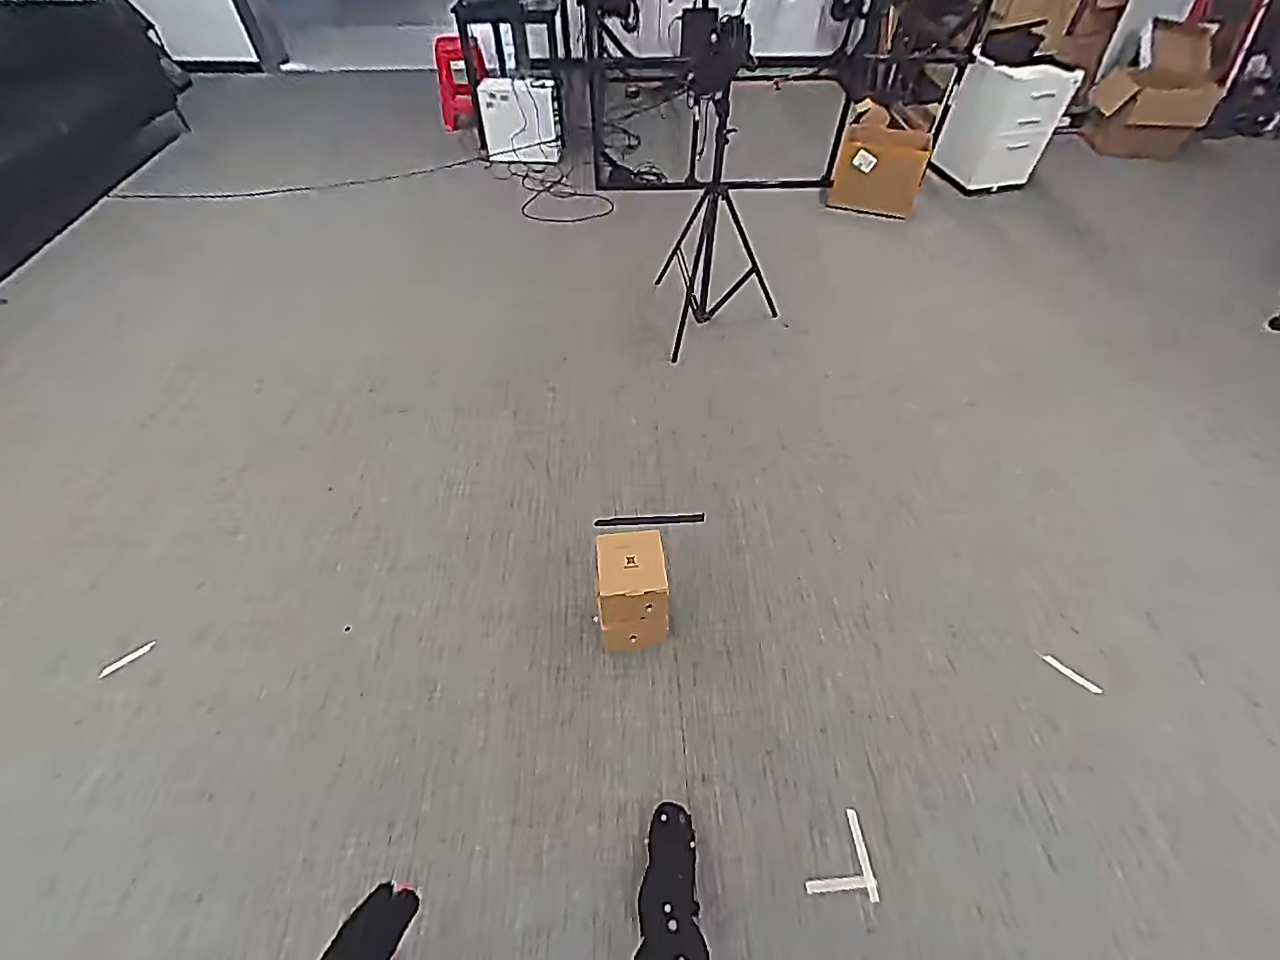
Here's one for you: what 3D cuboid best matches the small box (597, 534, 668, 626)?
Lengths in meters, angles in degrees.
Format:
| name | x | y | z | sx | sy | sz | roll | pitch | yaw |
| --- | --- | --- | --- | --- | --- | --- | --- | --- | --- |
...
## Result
| name | x | y | z | sx | sy | sz | roll | pitch | yaw |
| --- | --- | --- | --- | --- | --- | --- | --- | --- | --- |
| small box | -0.021 | 0.261 | 1.384 | 0.168 | 0.176 | 0.179 | -4 | 50 | -5 |

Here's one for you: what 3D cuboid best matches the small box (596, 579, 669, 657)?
| name | x | y | z | sx | sy | sz | roll | pitch | yaw |
| --- | --- | --- | --- | --- | --- | --- | --- | --- | --- |
| small box | -0.024 | 0.374 | 1.501 | 0.179 | 0.176 | 0.168 | -9 | 51 | -6 |
